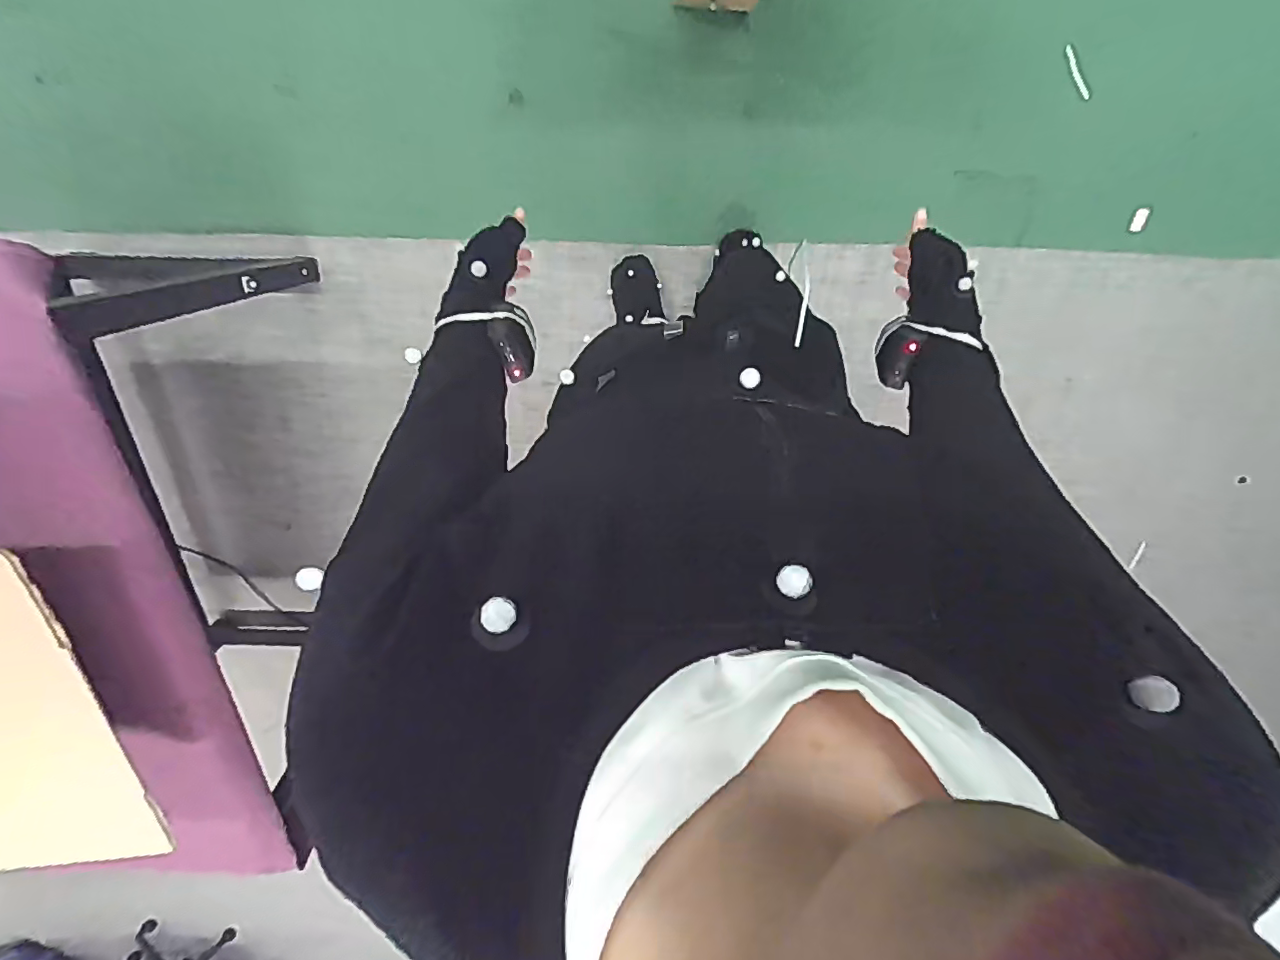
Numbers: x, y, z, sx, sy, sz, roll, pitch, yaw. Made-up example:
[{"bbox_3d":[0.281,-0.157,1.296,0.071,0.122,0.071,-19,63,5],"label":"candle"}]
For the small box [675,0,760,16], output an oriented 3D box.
[{"bbox_3d":[0.152,-0.984,0.979,0.168,0.176,0.179,3,117,-2],"label":"small box"}]
